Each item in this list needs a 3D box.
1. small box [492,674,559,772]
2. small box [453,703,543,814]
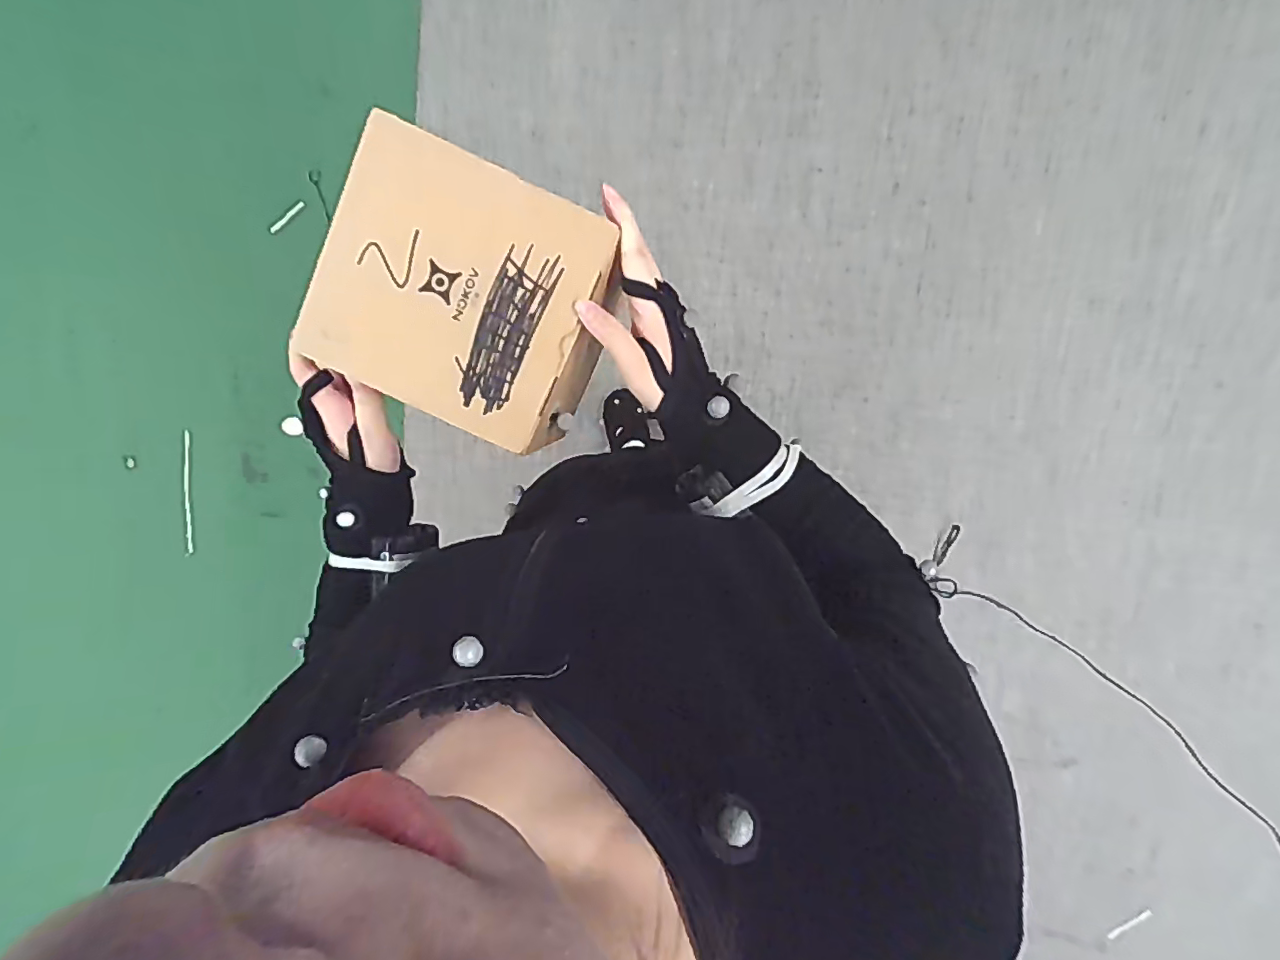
[{"bbox_3d":[-0.336,0.679,1.531,0.168,0.176,0.179,15,99,2],"label":"small box"},{"bbox_3d":[-0.350,0.694,1.367,0.168,0.176,0.179,11,97,3],"label":"small box"}]
